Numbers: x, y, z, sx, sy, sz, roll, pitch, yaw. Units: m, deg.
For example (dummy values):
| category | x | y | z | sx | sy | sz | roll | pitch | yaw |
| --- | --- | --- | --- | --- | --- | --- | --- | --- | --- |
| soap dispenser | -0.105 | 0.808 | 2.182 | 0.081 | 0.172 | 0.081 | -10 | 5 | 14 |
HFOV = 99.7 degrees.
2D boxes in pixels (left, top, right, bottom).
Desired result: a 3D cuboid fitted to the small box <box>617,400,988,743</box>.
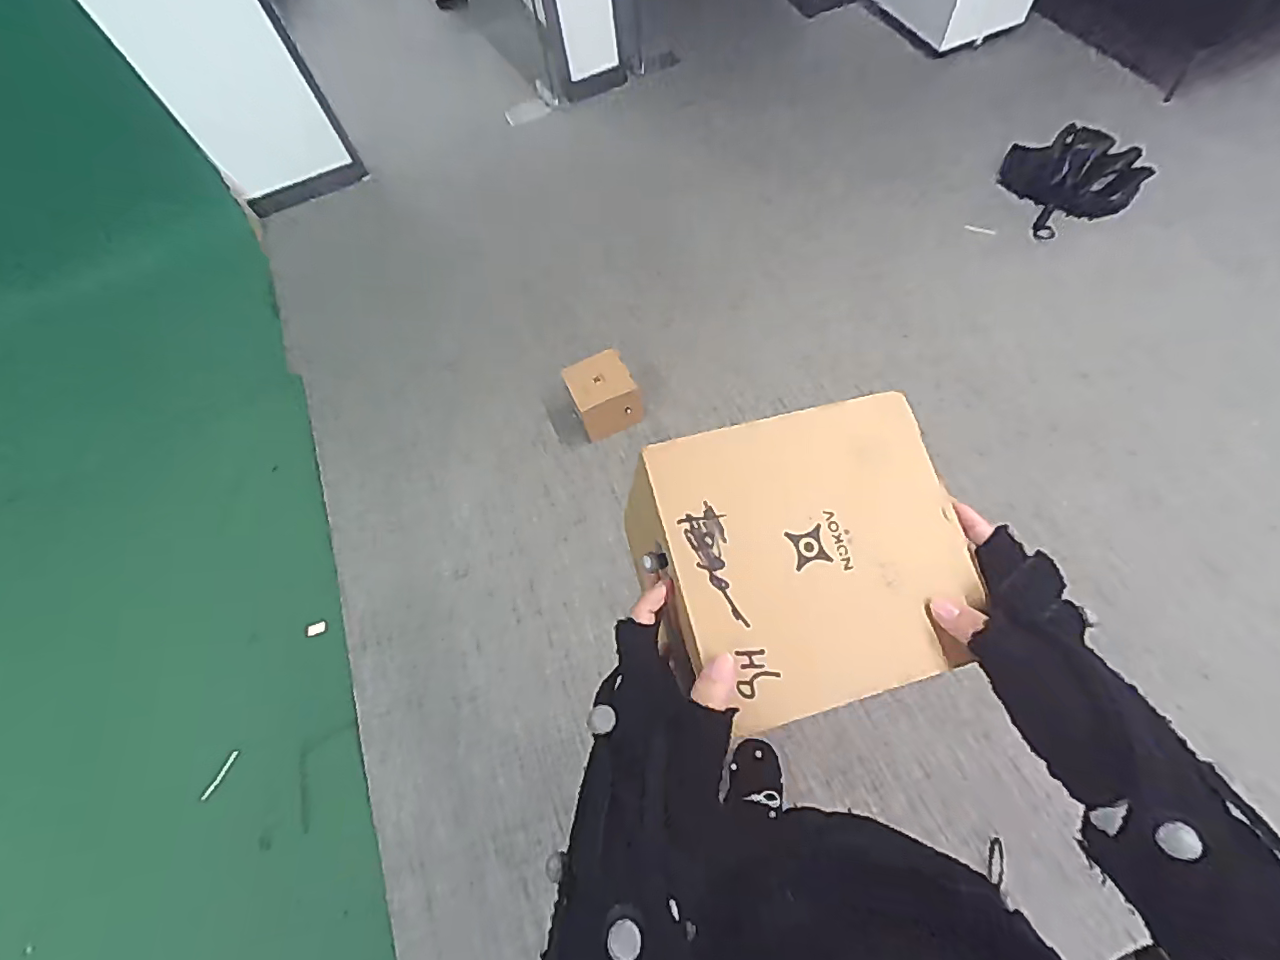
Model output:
| category | x | y | z | sx | sy | sz | roll | pitch | yaw |
| --- | --- | --- | --- | --- | --- | --- | --- | --- | --- |
| small box | 0.090 | 0.066 | 0.392 | 0.179 | 0.176 | 0.168 | -15 | 74 | -10 |

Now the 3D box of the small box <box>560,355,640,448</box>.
| category | x | y | z | sx | sy | sz | roll | pitch | yaw |
| --- | --- | --- | --- | --- | --- | --- | --- | --- | --- |
| small box | -0.109 | -0.226 | 1.589 | 0.179 | 0.176 | 0.168 | -27 | 63 | -5 |
